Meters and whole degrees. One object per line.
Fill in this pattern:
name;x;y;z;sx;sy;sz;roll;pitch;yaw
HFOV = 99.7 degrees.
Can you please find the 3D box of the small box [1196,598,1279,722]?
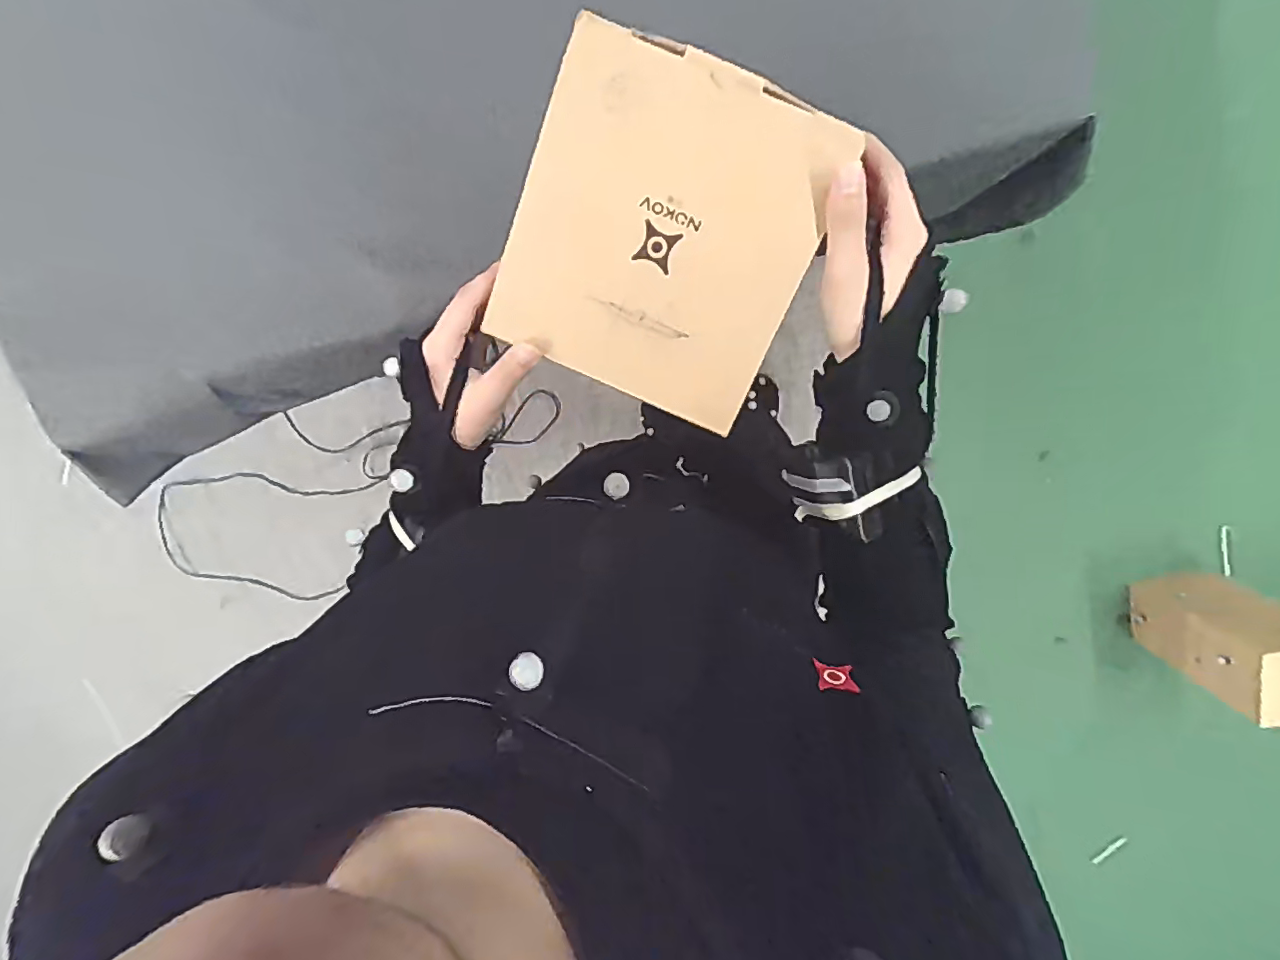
small box;1.290;0.357;1.094;0.179;0.176;0.168;-12;103;8
